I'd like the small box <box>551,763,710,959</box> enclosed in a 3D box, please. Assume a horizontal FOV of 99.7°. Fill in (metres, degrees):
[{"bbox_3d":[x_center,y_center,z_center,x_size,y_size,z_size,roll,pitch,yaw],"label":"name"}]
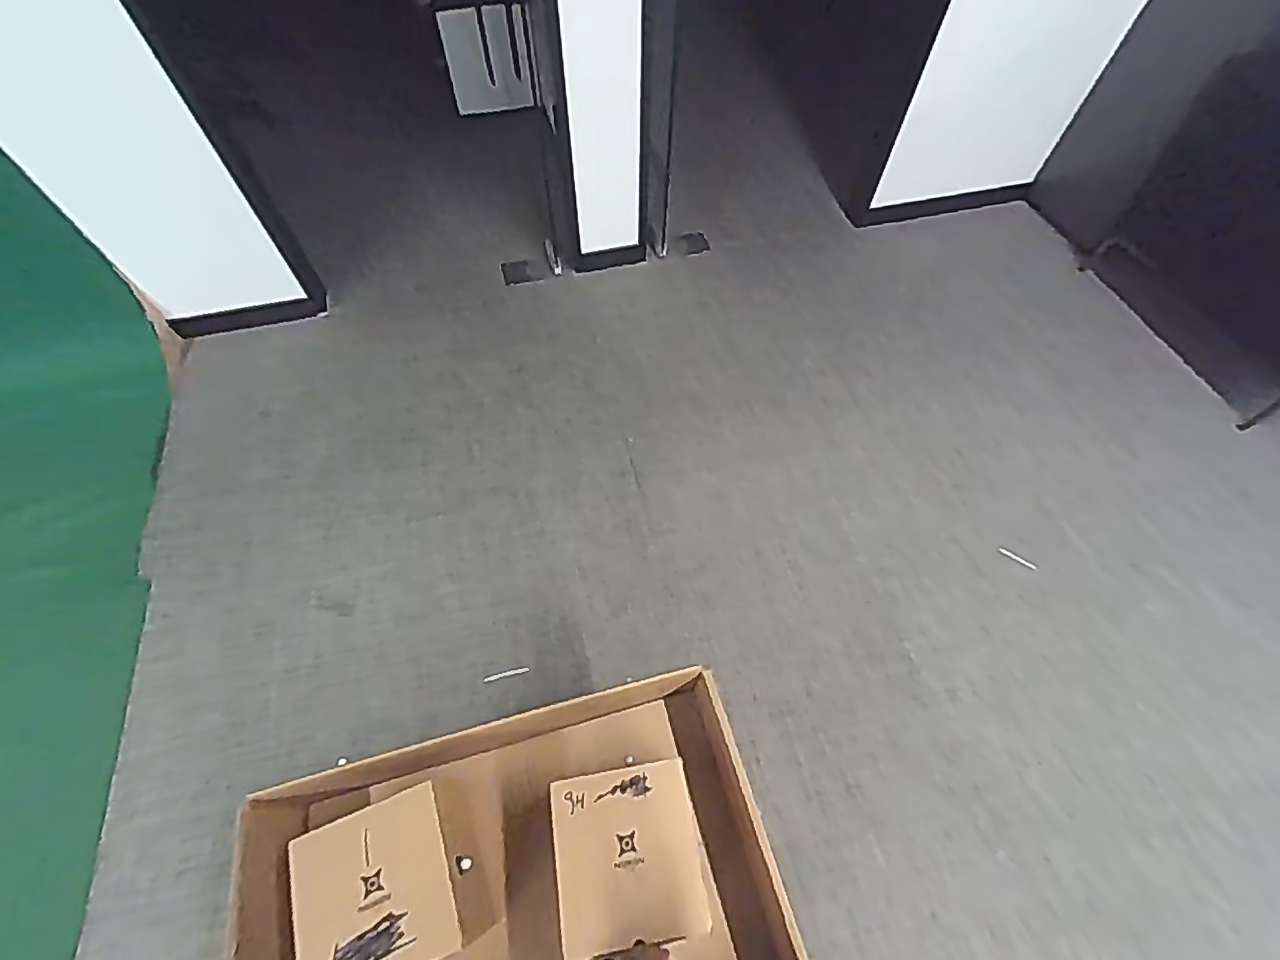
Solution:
[{"bbox_3d":[-0.015,0.472,0.686,0.168,0.176,0.179,-8,59,-6],"label":"small box"}]
